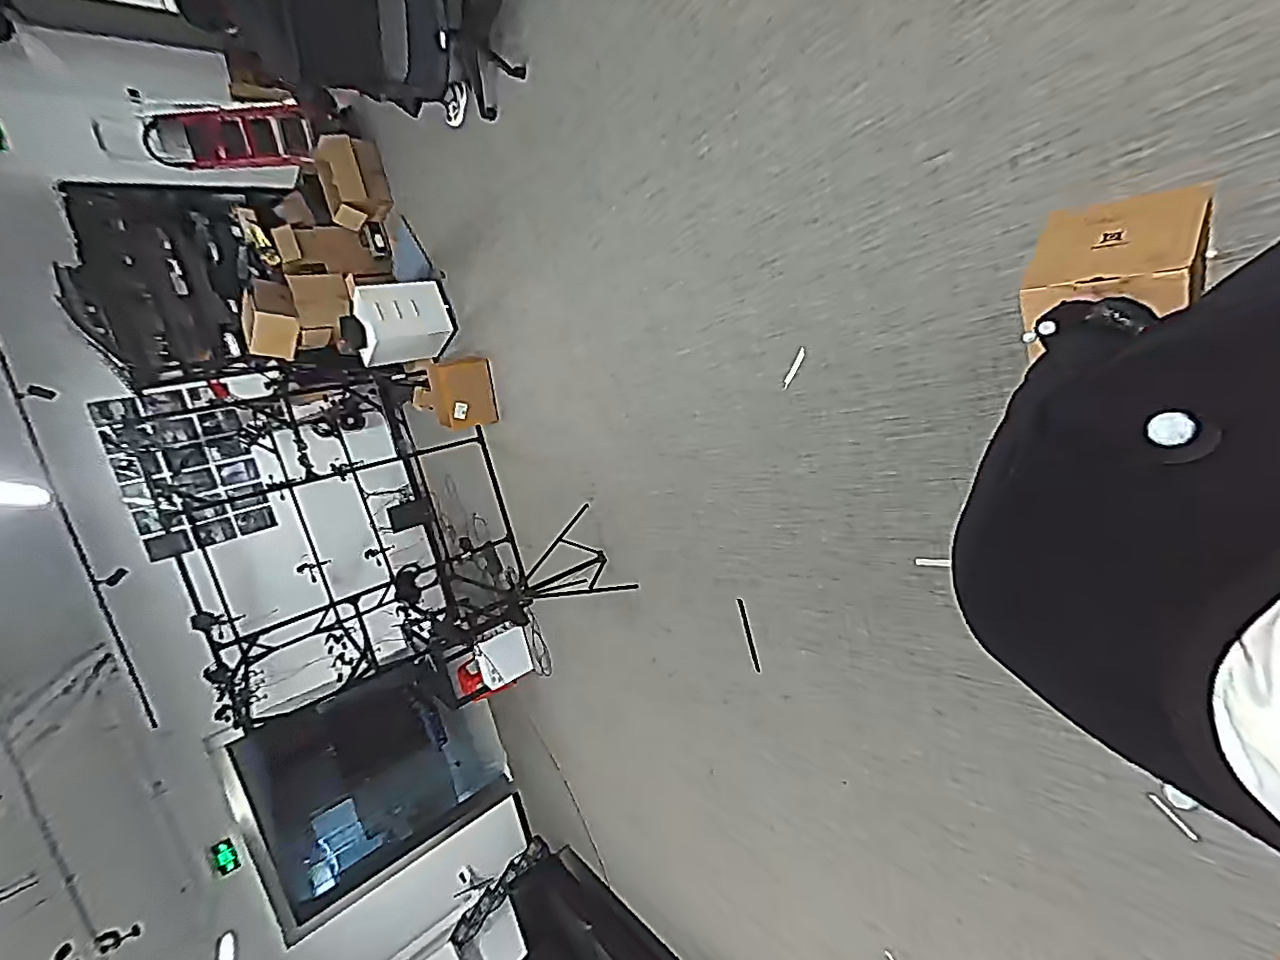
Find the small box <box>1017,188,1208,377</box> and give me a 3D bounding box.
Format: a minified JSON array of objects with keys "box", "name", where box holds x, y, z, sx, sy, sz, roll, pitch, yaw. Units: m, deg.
[{"box":[0.652,-0.257,0.748,0.168,0.179,0.176,10,147,48],"name":"small box"}]
